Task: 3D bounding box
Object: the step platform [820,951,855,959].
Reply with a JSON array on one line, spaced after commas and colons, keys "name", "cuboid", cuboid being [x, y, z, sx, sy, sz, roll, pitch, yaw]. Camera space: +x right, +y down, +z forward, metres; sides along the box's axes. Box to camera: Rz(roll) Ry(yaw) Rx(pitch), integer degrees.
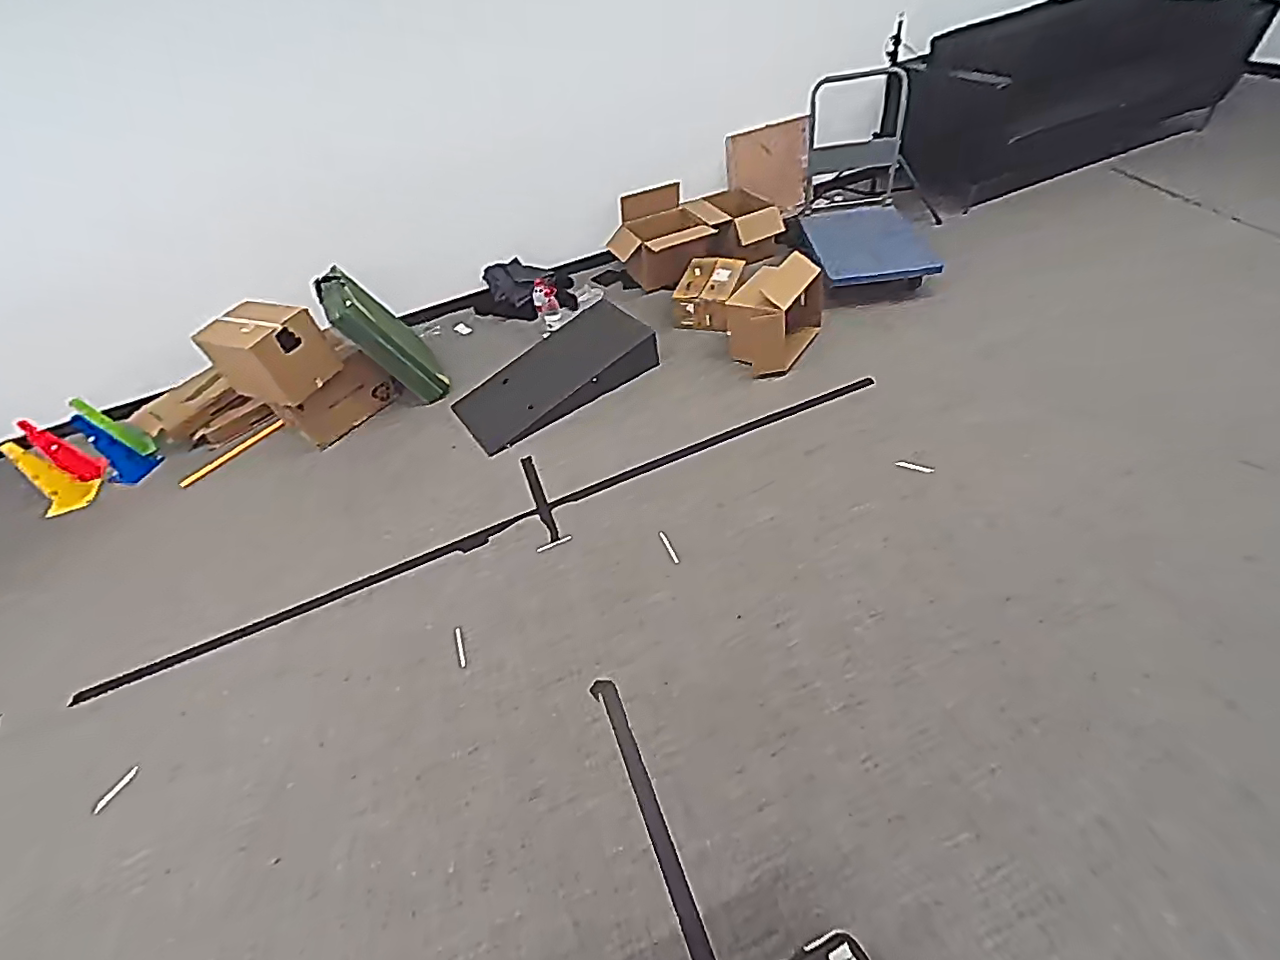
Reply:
[{"name": "step platform", "cuboid": [0.192, 1.191, 0.984, 0.684, 0.204, 0.286, -22, 48, -11]}]
